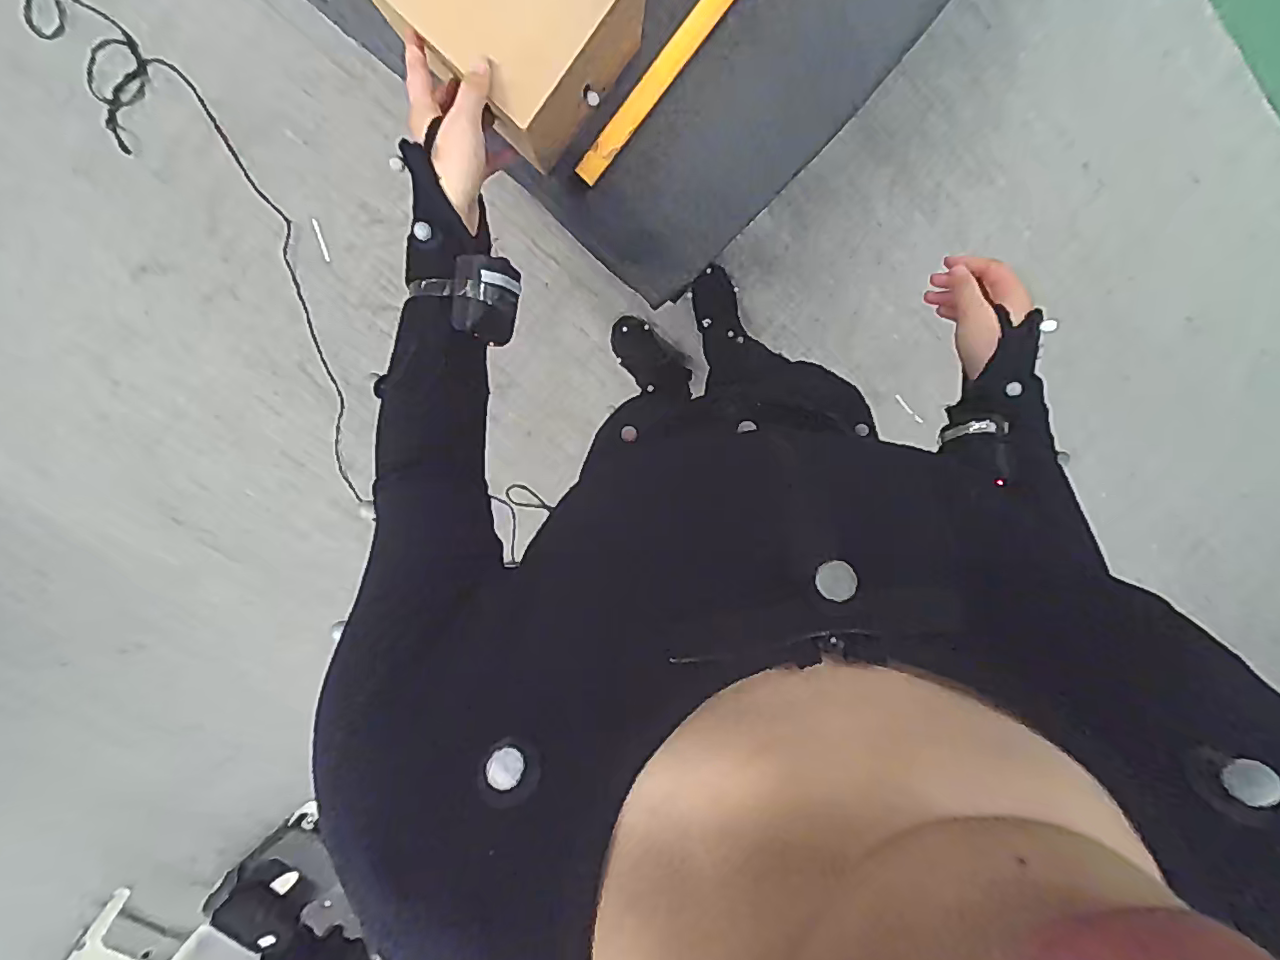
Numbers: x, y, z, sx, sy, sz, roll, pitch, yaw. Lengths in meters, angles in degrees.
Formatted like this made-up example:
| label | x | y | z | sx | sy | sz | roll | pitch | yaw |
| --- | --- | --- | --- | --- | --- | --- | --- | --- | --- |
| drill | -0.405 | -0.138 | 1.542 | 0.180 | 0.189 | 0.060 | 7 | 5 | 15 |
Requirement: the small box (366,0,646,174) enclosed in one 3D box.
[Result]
| label | x | y | z | sx | sy | sz | roll | pitch | yaw |
| --- | --- | --- | --- | --- | --- | --- | --- | --- | --- |
| small box | -0.109 | -0.416 | 0.498 | 0.179 | 0.176 | 0.168 | 39 | 101 | -13 |
